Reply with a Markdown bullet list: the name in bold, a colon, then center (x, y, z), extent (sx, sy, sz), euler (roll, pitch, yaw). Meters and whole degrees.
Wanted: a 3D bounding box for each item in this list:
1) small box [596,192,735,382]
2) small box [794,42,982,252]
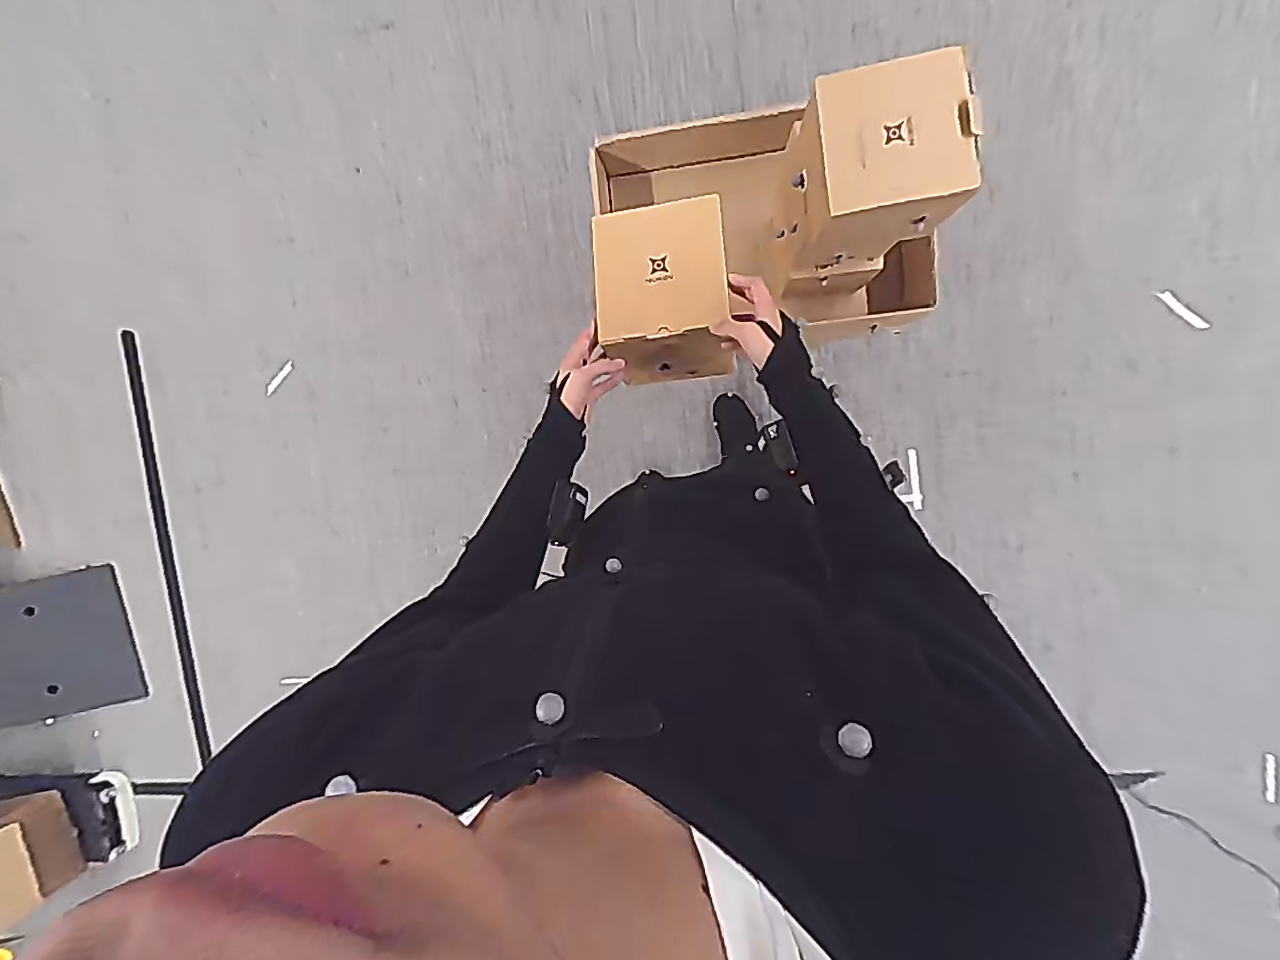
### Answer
- **small box**: center (0.041, -0.250, 0.738), extent (0.168, 0.176, 0.179), euler (-5, 81, 10)
- **small box**: center (0.314, -0.421, 0.715), extent (0.179, 0.176, 0.168), euler (-7, 94, 7)
